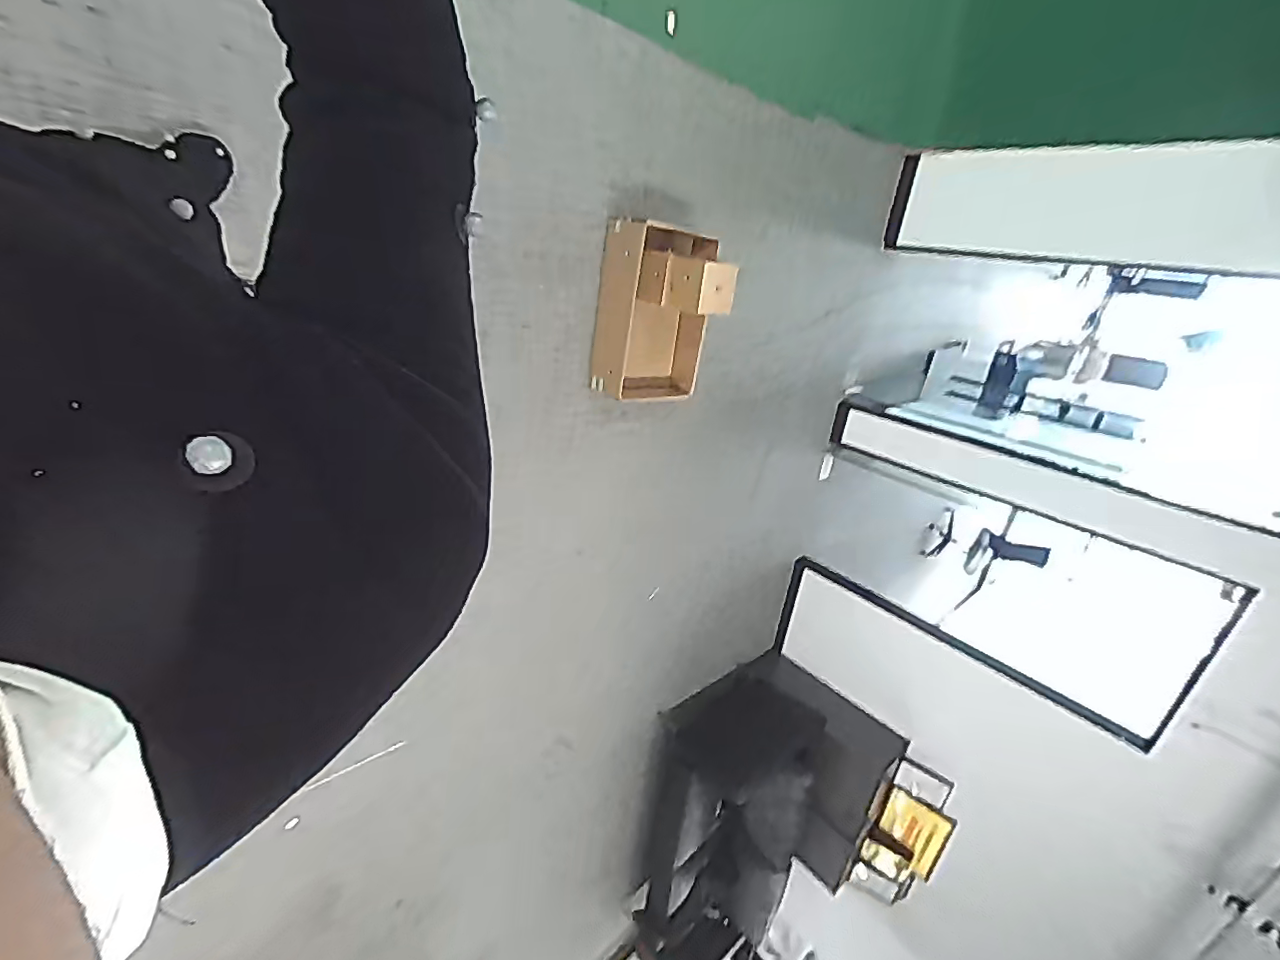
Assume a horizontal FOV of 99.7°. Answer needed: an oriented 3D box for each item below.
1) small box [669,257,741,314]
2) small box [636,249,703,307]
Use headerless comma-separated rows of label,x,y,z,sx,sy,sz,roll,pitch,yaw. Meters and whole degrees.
small box,0.219,-0.671,1.864,0.179,0.176,0.168,-15,122,-39
small box,0.103,-0.731,1.961,0.168,0.176,0.179,-12,122,-40
